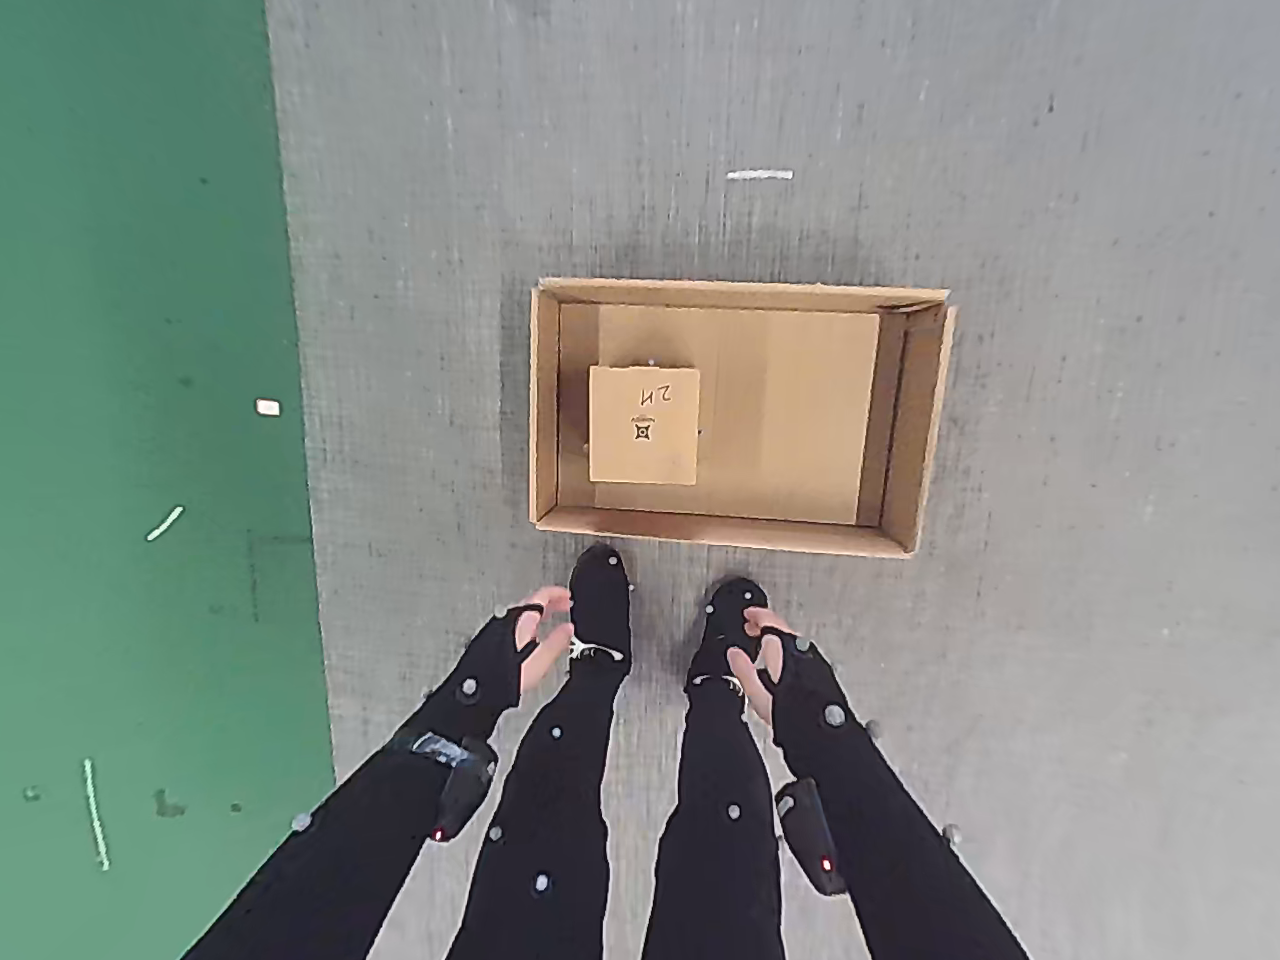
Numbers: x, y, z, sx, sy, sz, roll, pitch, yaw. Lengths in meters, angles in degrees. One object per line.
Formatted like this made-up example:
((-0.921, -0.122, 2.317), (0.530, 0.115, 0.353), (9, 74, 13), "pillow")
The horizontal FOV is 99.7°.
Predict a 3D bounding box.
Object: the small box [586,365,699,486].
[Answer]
((0.009, -0.096, 0.883), (0.168, 0.176, 0.179), (3, 101, 4), "small box")
